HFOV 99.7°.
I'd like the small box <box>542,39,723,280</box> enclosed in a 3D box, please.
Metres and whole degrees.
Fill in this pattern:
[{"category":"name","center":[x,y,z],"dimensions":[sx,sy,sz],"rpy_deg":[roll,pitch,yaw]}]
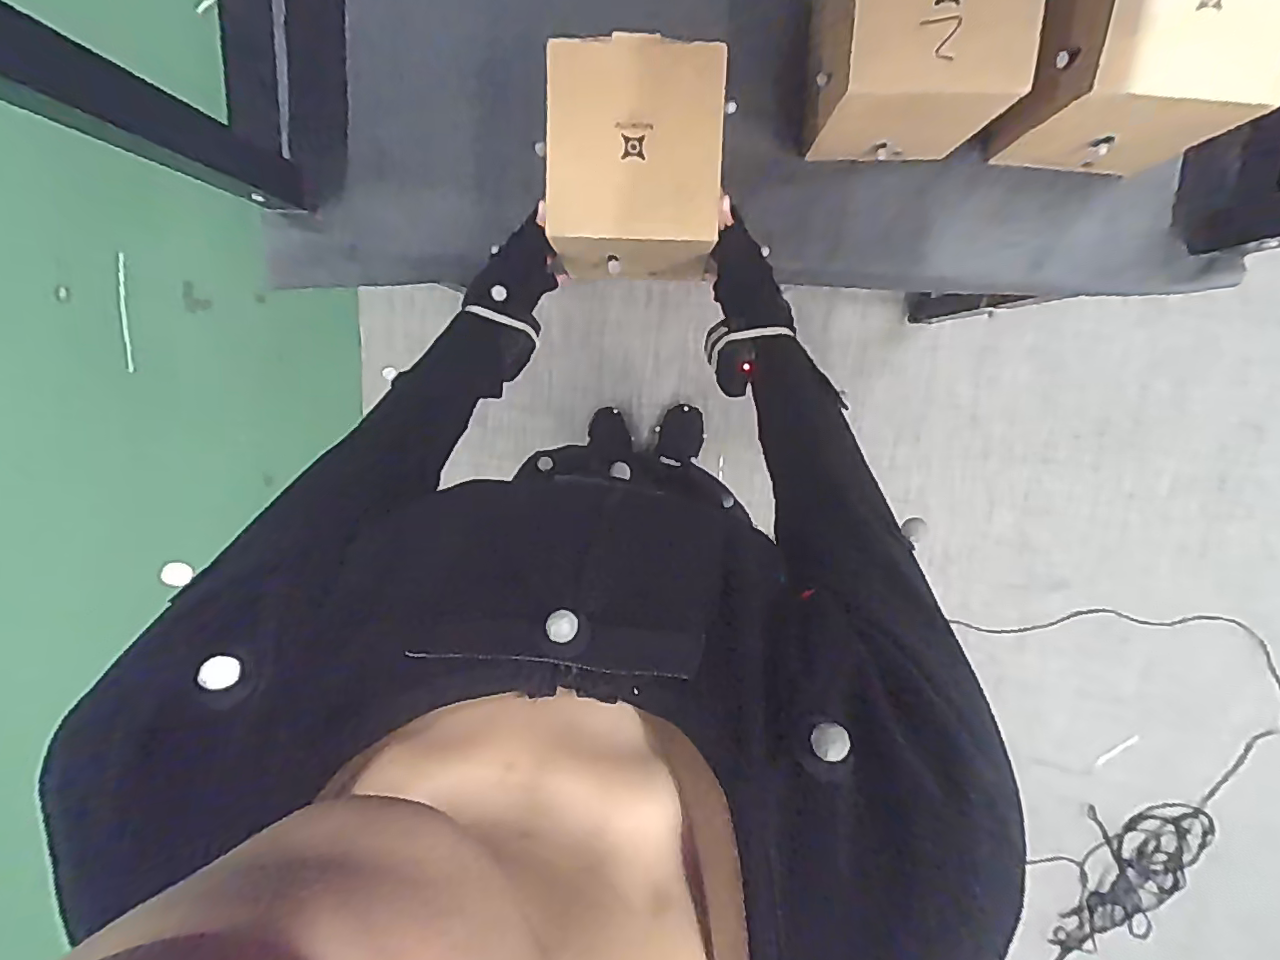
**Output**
[{"category":"small box","center":[-0.007,-0.322,0.580],"dimensions":[0.168,0.176,0.179],"rpy_deg":[2,96,0]}]
